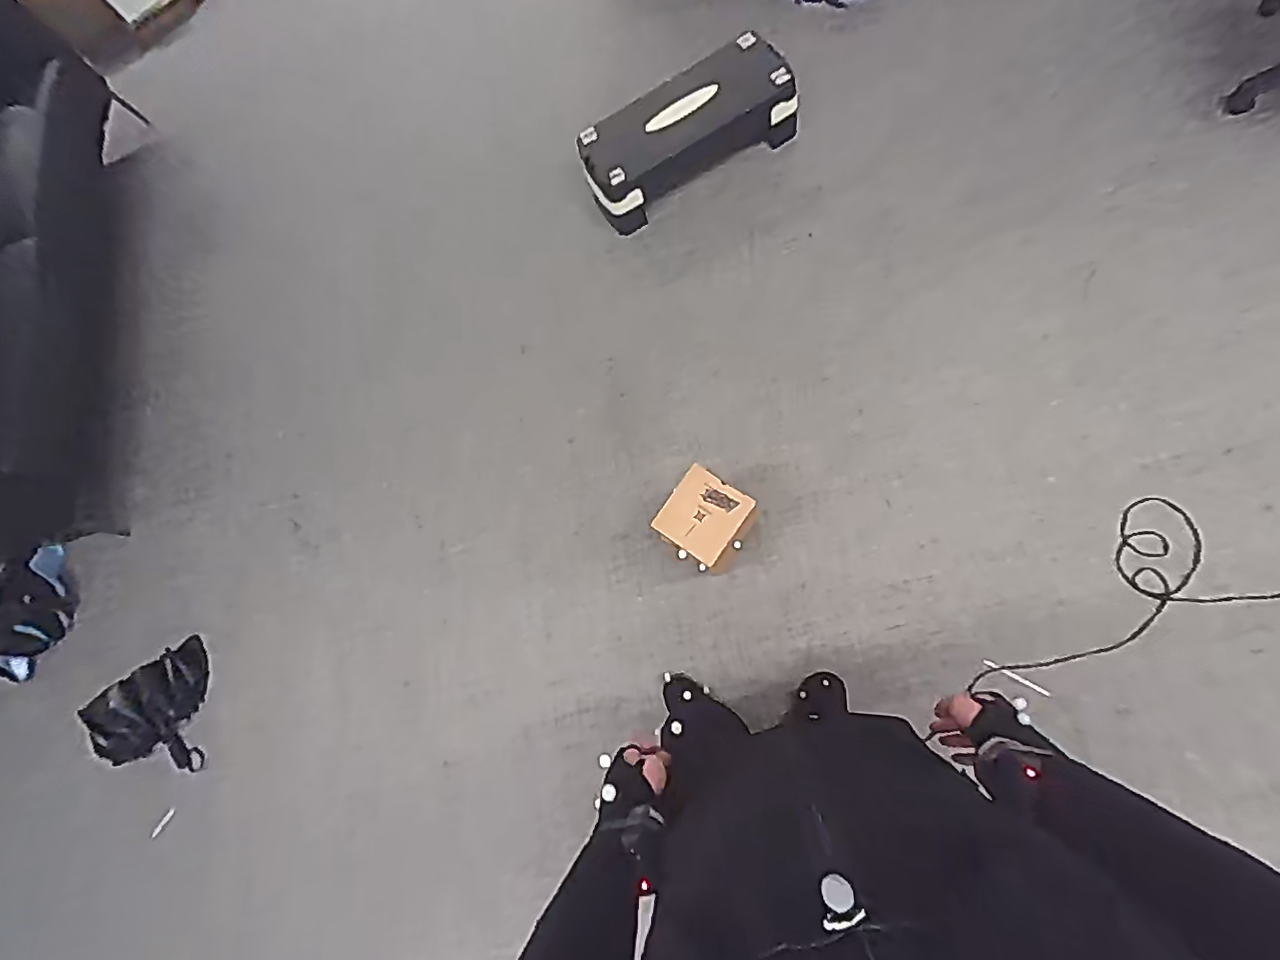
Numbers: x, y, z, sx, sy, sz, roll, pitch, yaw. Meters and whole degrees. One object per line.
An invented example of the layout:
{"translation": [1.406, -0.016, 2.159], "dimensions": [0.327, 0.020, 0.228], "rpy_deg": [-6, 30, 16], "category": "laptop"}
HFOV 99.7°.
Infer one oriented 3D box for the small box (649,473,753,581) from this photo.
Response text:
{"translation": [0.147, 0.114, 1.257], "dimensions": [0.168, 0.176, 0.179], "rpy_deg": [34, 85, 19], "category": "small box"}
